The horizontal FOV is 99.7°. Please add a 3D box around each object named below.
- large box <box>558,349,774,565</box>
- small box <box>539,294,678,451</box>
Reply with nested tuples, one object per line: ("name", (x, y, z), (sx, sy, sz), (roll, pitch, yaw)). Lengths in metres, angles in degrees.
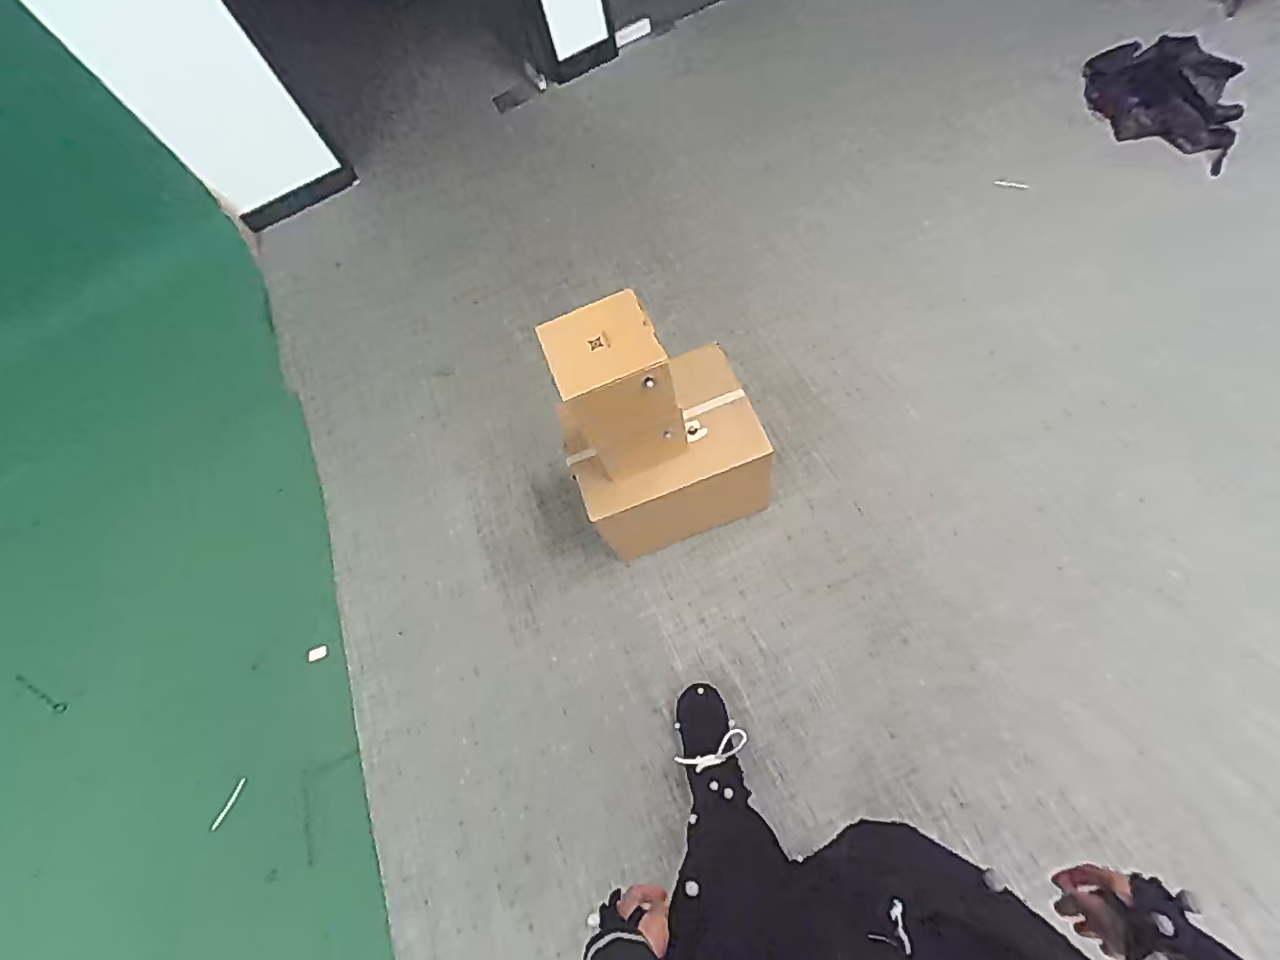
("large box", (0.066, -0.040, 1.300), (0.408, 0.320, 0.320), (-21, 64, 0))
("small box", (-0.048, -0.176, 0.929), (0.179, 0.176, 0.168), (-23, 63, -1))
